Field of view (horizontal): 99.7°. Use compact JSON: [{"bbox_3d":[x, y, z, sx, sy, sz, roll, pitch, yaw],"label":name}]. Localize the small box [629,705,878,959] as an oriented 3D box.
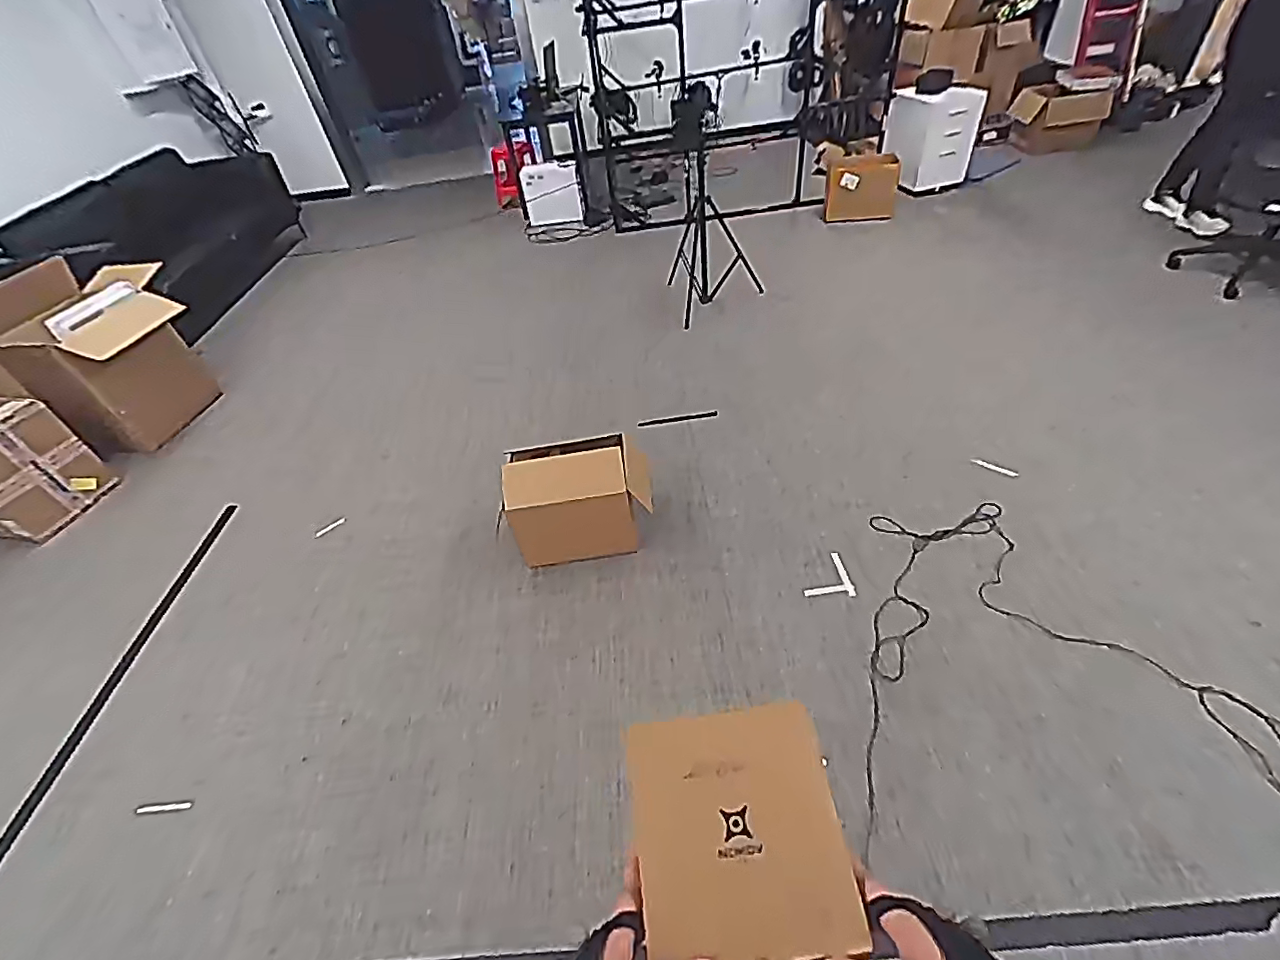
[{"bbox_3d":[0.086,0.324,0.493,0.168,0.176,0.179,-8,55,-1],"label":"small box"}]
